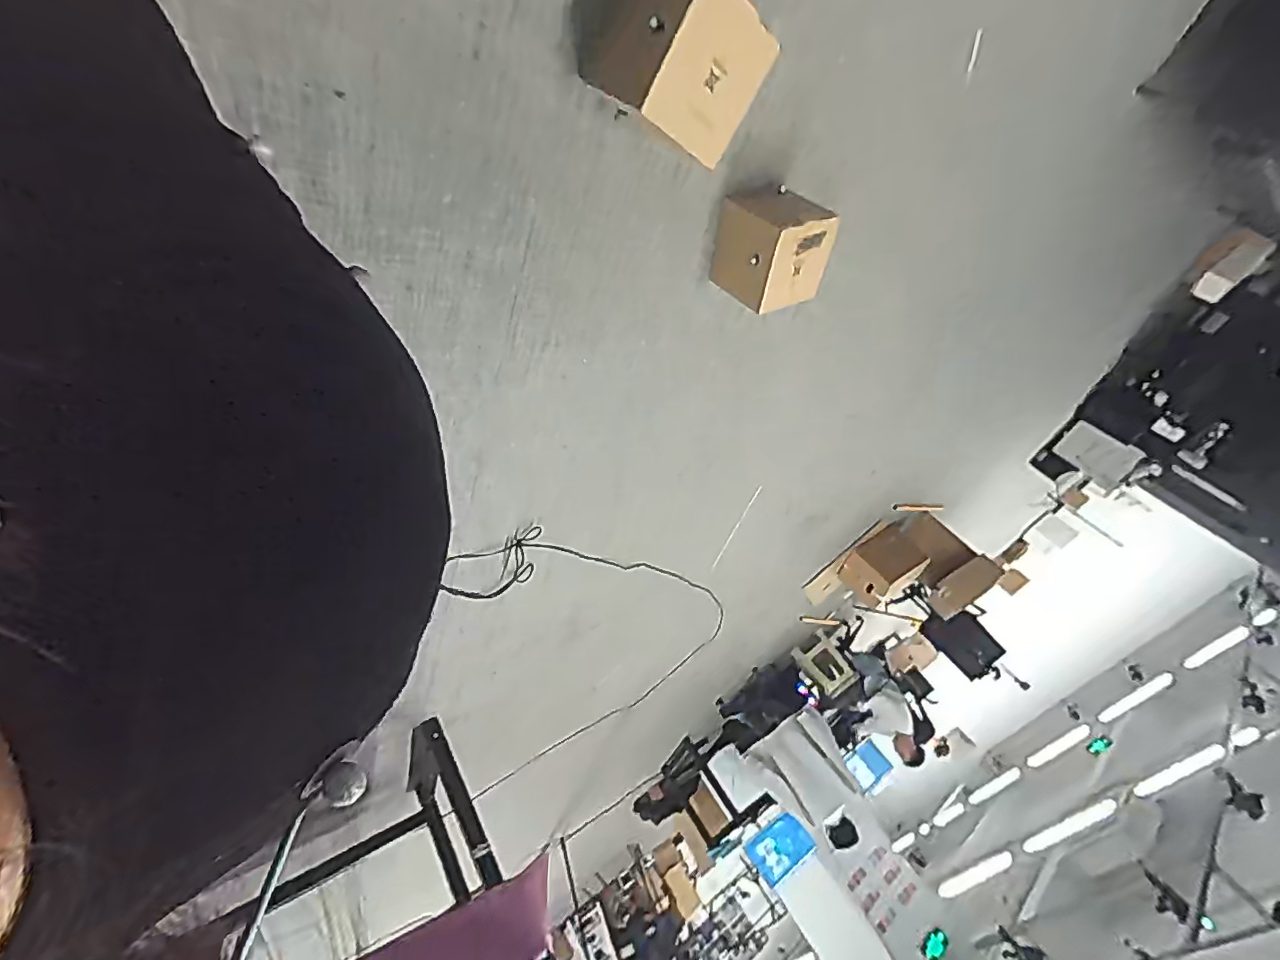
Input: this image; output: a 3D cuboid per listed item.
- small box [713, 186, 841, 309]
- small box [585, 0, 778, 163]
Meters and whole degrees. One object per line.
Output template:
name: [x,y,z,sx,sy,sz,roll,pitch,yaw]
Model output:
small box: [0.272,-0.487,1.115,0.168,0.176,0.179,-24,144,-24]
small box: [0.051,-0.594,0.759,0.168,0.176,0.179,4,127,-47]
